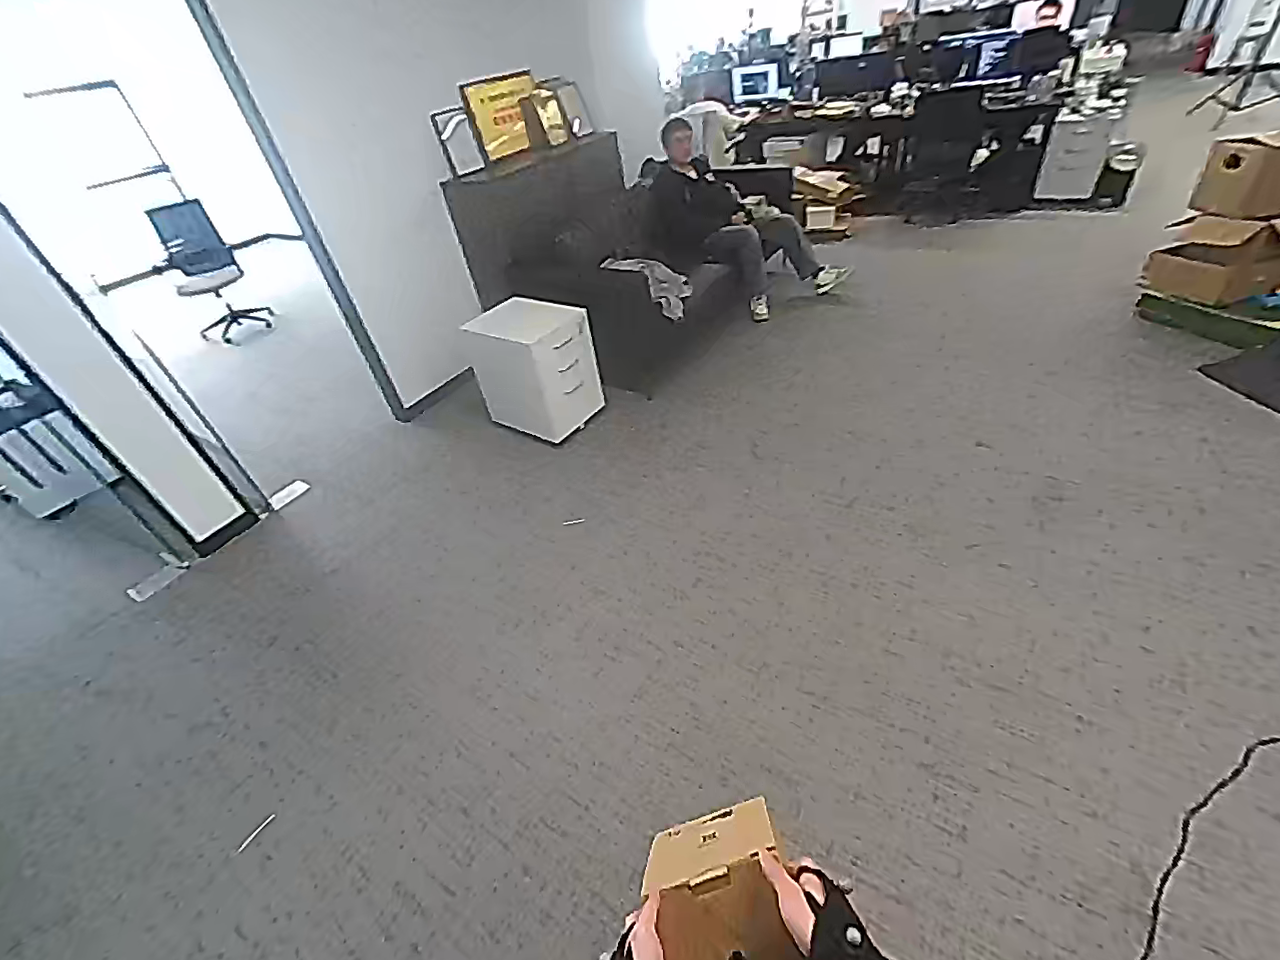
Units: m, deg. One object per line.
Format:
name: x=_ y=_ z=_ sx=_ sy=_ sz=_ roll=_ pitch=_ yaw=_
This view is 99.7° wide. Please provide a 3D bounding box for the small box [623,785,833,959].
small box: x=0.105 y=0.517 z=0.681 sx=0.179 sy=0.168 sz=0.176 roll=-13 pitch=73 yaw=-27
